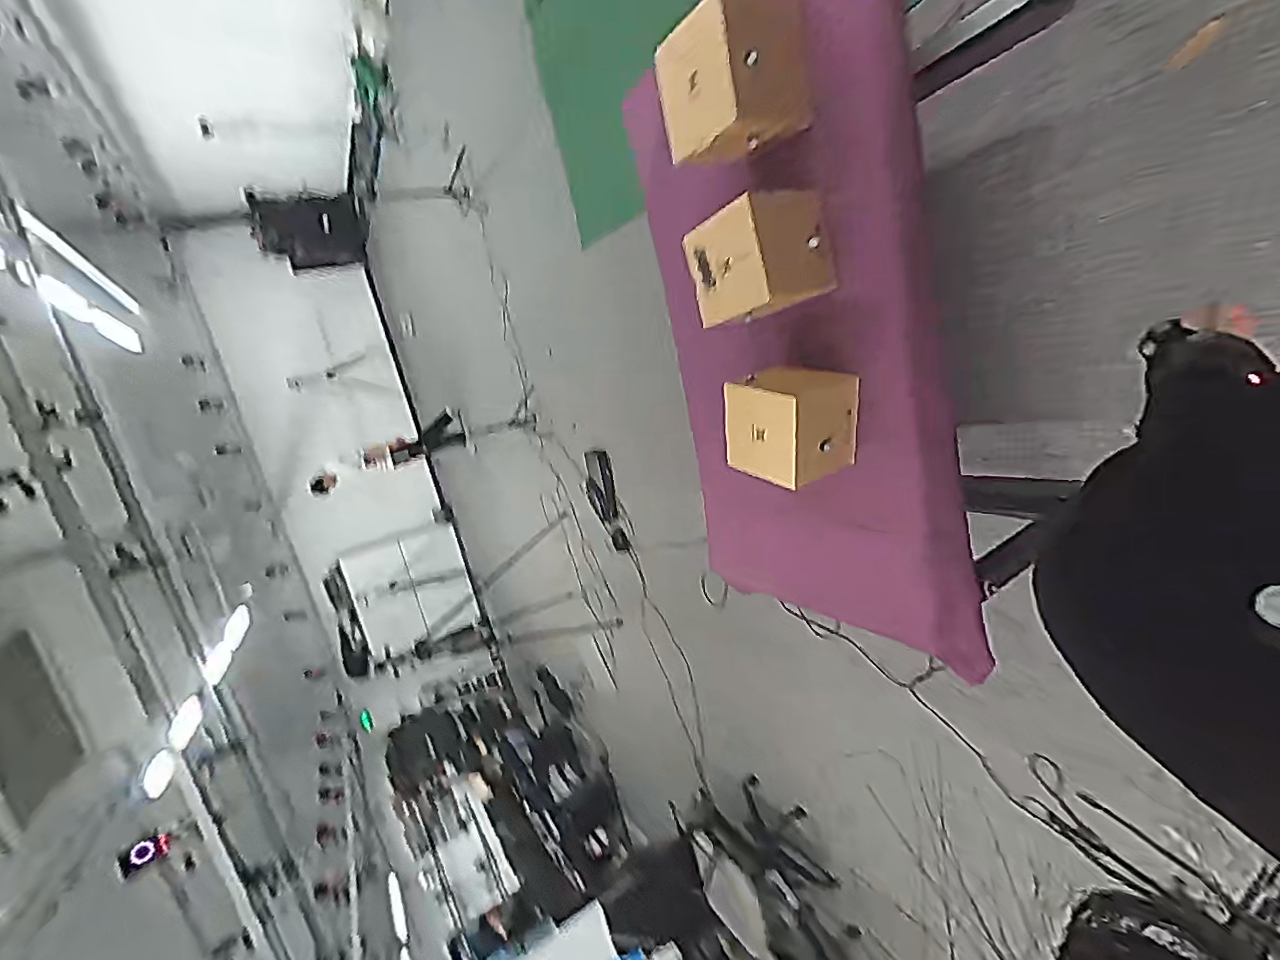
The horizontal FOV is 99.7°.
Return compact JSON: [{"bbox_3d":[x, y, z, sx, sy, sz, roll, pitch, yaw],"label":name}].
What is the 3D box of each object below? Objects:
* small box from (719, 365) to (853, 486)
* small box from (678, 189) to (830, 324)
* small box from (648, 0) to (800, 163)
[{"bbox_3d":[0.270,-0.110,0.998,0.179,0.176,0.168,26,130,52],"label":"small box"},{"bbox_3d":[0.197,-0.386,0.945,0.179,0.176,0.168,-2,107,59],"label":"small box"},{"bbox_3d":[0.139,-0.643,0.878,0.168,0.176,0.179,12,118,58],"label":"small box"}]
